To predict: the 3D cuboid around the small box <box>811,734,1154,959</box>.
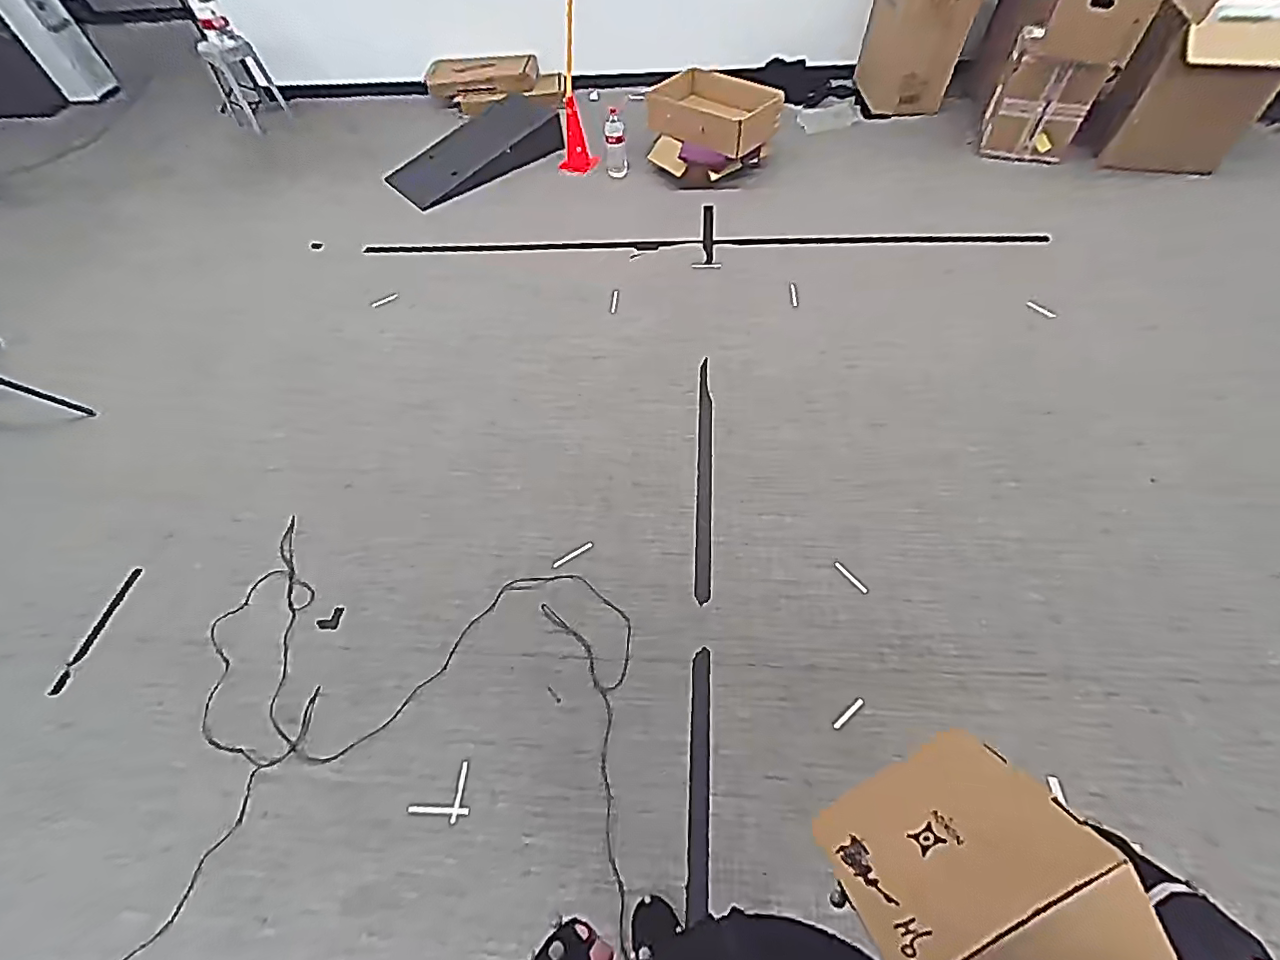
[{"bbox_3d":[0.283,0.366,0.456,0.179,0.168,0.176,-30,97,-2],"label":"small box"}]
